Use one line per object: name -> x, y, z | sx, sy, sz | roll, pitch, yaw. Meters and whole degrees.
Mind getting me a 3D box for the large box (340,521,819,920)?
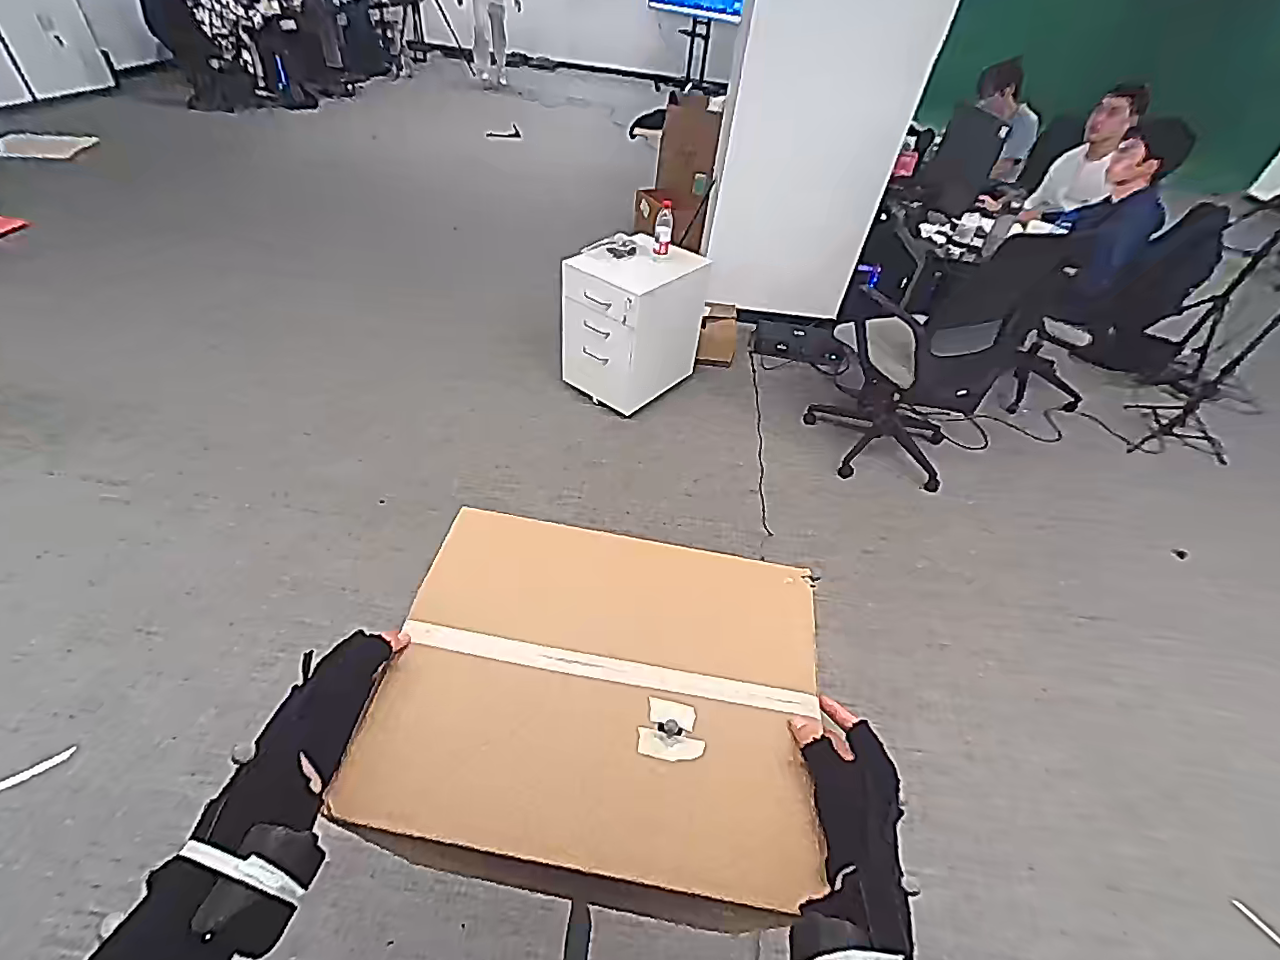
large box -> -0.046, 0.288, 0.643 | 0.408, 0.320, 0.320 | 10, 50, 2
